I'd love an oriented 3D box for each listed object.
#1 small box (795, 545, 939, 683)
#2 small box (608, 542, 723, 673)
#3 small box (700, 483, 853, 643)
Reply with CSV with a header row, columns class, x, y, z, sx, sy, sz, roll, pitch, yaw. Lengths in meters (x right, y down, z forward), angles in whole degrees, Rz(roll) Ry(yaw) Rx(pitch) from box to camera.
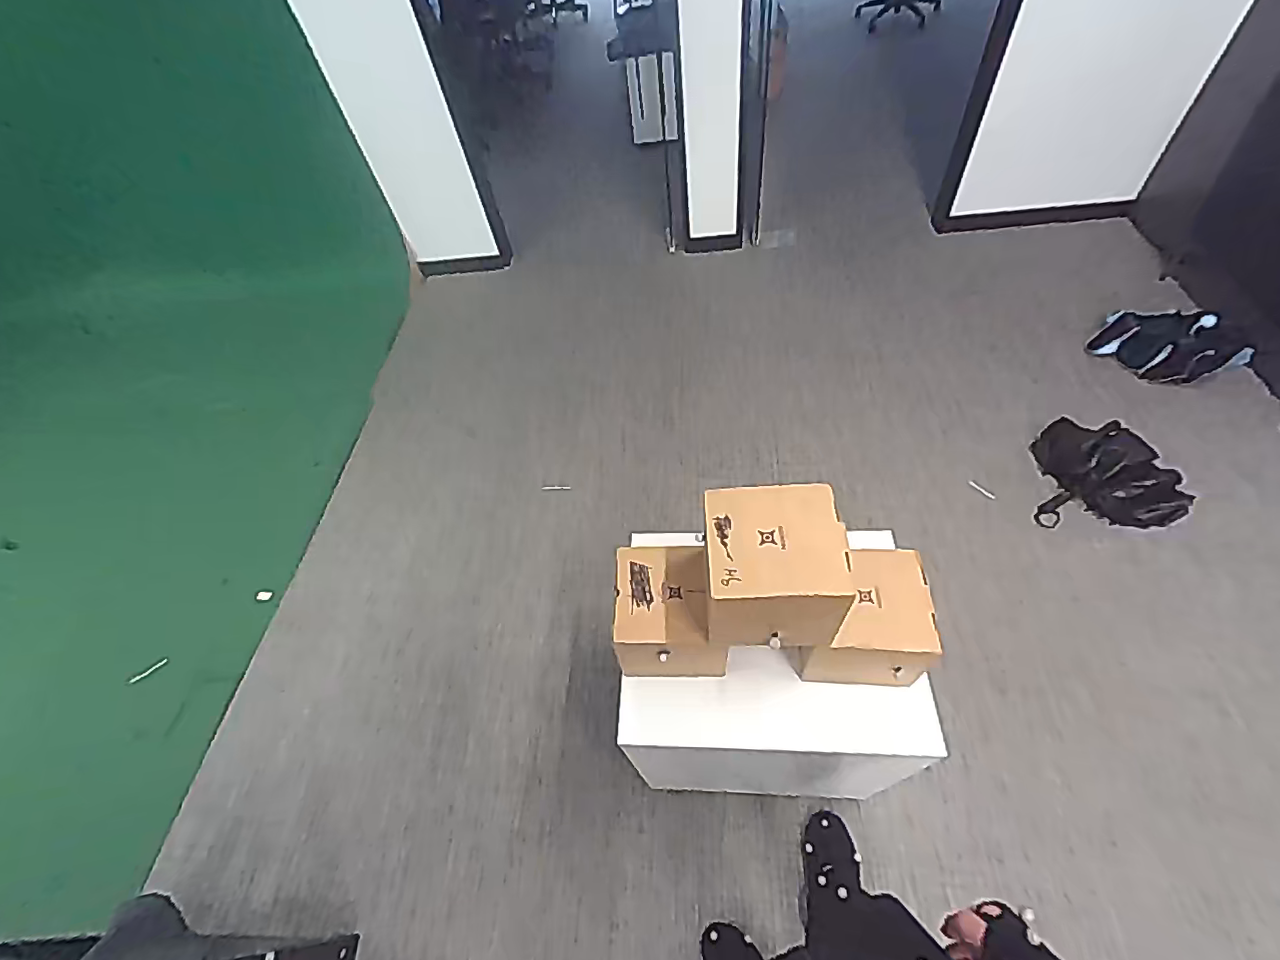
class,x,y,z,sx,sy,sz,roll,pitch,yaw
small box,0.345,0.217,0.867,0.179,0.176,0.168,-1,53,9
small box,0.049,0.217,0.905,0.179,0.176,0.168,-2,54,5
small box,0.176,0.120,0.757,0.179,0.176,0.168,-2,53,5
